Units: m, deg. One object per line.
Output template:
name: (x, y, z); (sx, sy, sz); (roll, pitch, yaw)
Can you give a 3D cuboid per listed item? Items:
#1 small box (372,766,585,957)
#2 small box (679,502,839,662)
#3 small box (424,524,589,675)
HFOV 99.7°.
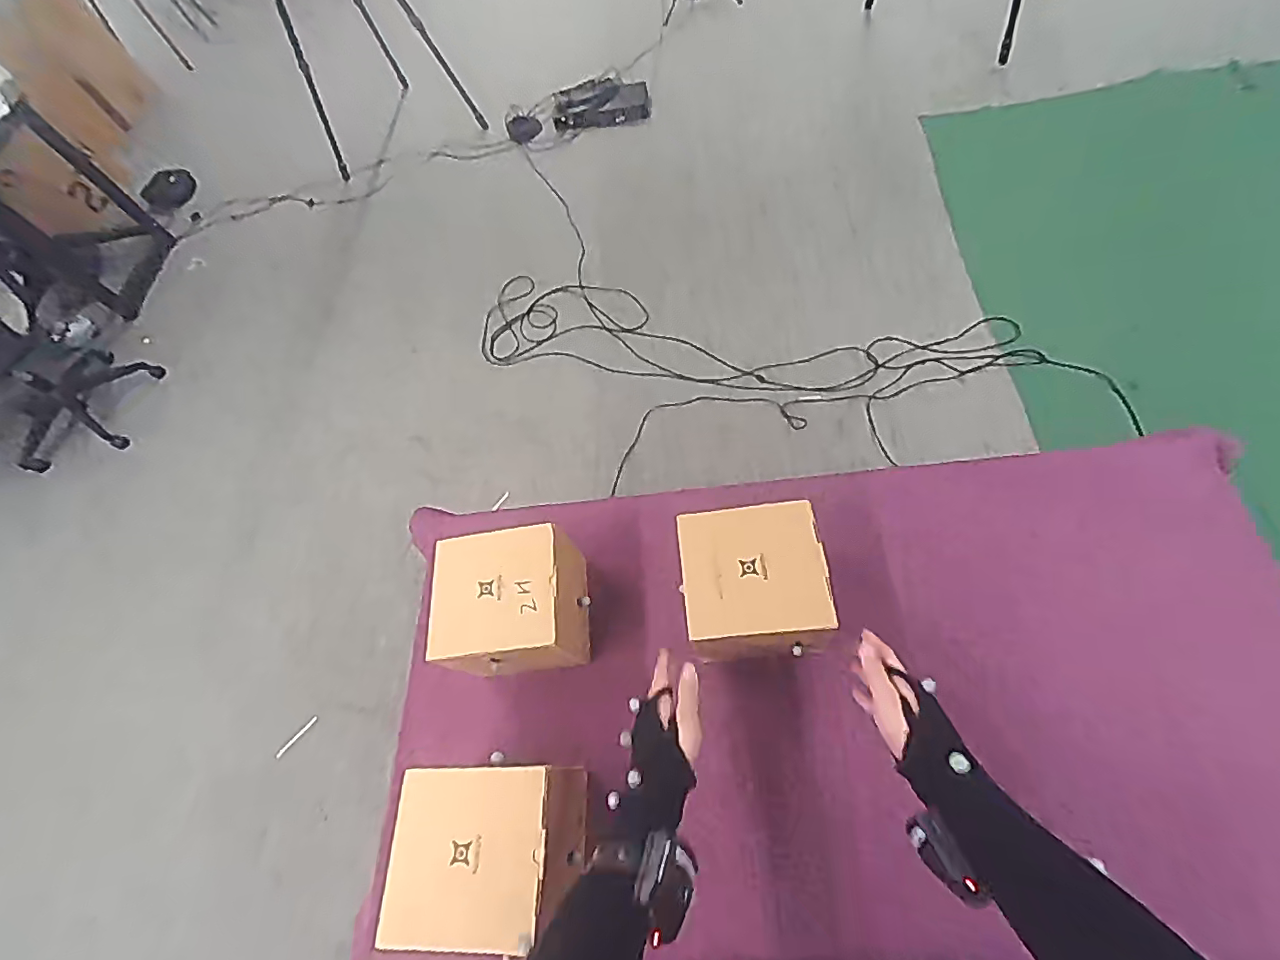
small box: (-0.175, 0.437, 0.644); (0.179, 0.176, 0.168); (-5, 60, 8)
small box: (0.153, 0.145, 0.733); (0.179, 0.176, 0.168); (-8, 61, 8)
small box: (-0.181, 0.180, 0.780); (0.179, 0.176, 0.168); (-8, 62, 7)
